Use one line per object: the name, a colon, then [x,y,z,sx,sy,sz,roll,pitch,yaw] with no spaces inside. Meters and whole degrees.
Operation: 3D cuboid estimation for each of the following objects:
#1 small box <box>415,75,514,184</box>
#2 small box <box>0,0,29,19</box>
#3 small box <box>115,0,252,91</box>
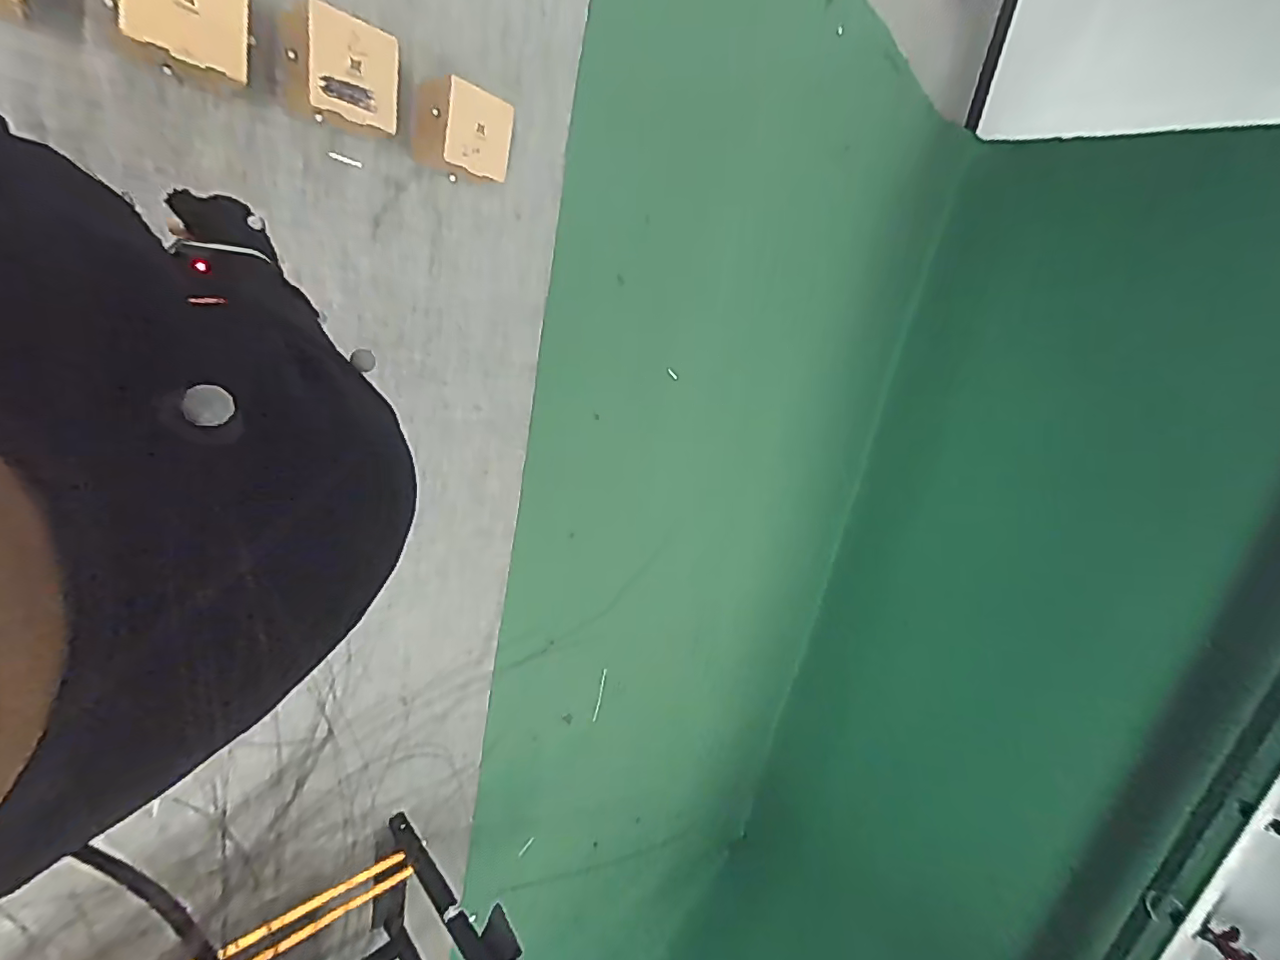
small box: [-0.436,-0.849,1.329,0.168,0.176,0.179,-4,112,-46]
small box: [-0.978,-0.799,0.754,0.168,0.176,0.179,2,107,-48]
small box: [-0.798,-0.819,0.943,0.168,0.176,0.179,-4,112,-46]
